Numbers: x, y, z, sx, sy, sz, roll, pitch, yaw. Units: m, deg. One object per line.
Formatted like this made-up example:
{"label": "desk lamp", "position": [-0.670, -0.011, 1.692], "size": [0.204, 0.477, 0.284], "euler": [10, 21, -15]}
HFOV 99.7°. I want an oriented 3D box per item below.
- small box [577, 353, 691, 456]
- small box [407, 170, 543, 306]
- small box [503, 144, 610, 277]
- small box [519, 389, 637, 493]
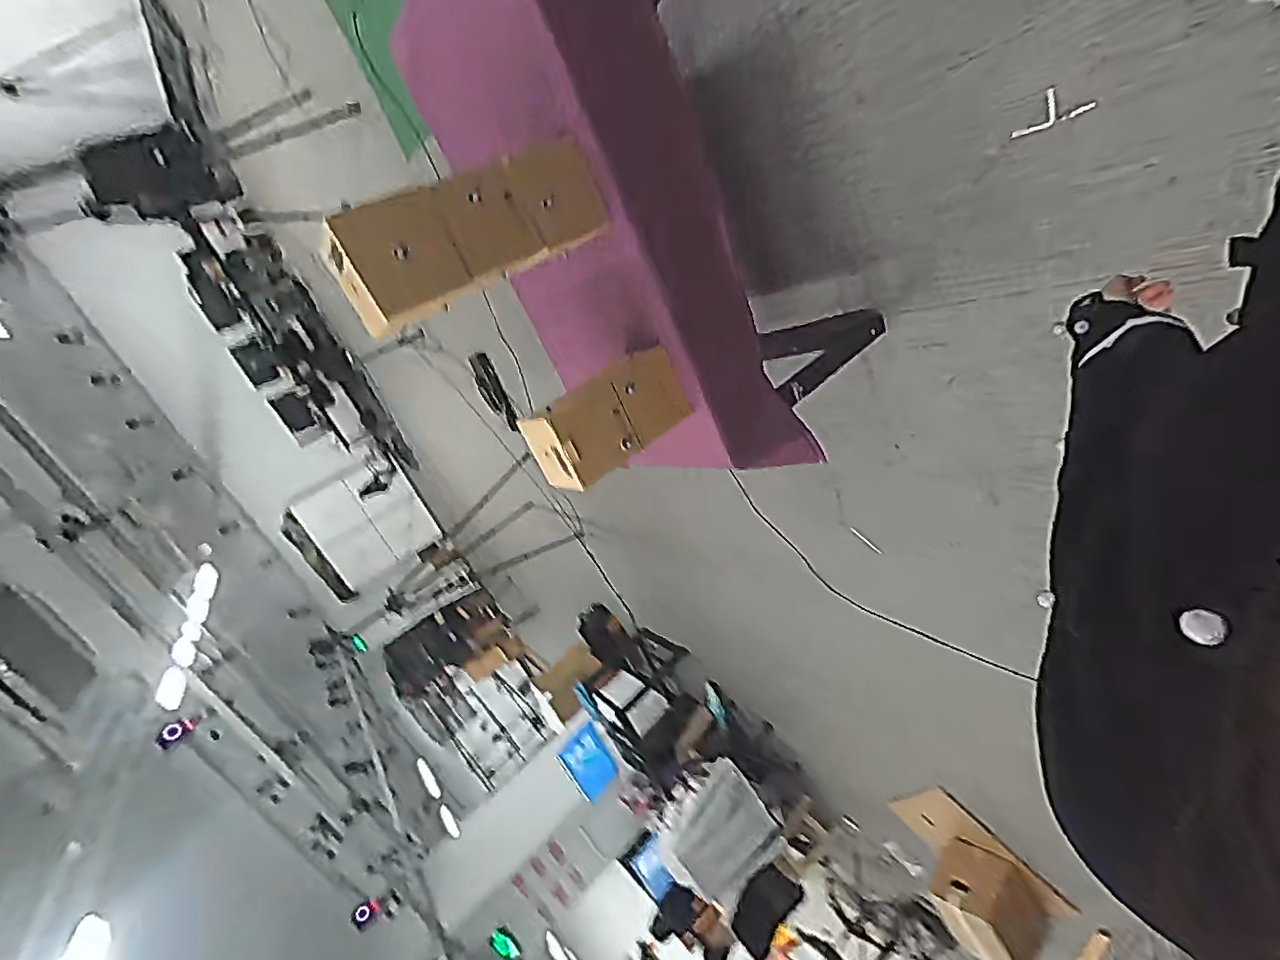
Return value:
{"label": "small box", "position": [-0.009, -0.173, 1.254], "size": [0.168, 0.176, 0.179], "euler": [5, 125, 56]}
{"label": "small box", "position": [-0.310, -0.459, 1.033], "size": [0.179, 0.176, 0.168], "euler": [5, 126, 57]}
{"label": "small box", "position": [-0.189, -0.545, 1.102], "size": [0.168, 0.176, 0.179], "euler": [7, 128, 54]}
{"label": "small box", "position": [-0.128, -0.088, 1.181], "size": [0.179, 0.176, 0.168], "euler": [6, 126, 57]}
